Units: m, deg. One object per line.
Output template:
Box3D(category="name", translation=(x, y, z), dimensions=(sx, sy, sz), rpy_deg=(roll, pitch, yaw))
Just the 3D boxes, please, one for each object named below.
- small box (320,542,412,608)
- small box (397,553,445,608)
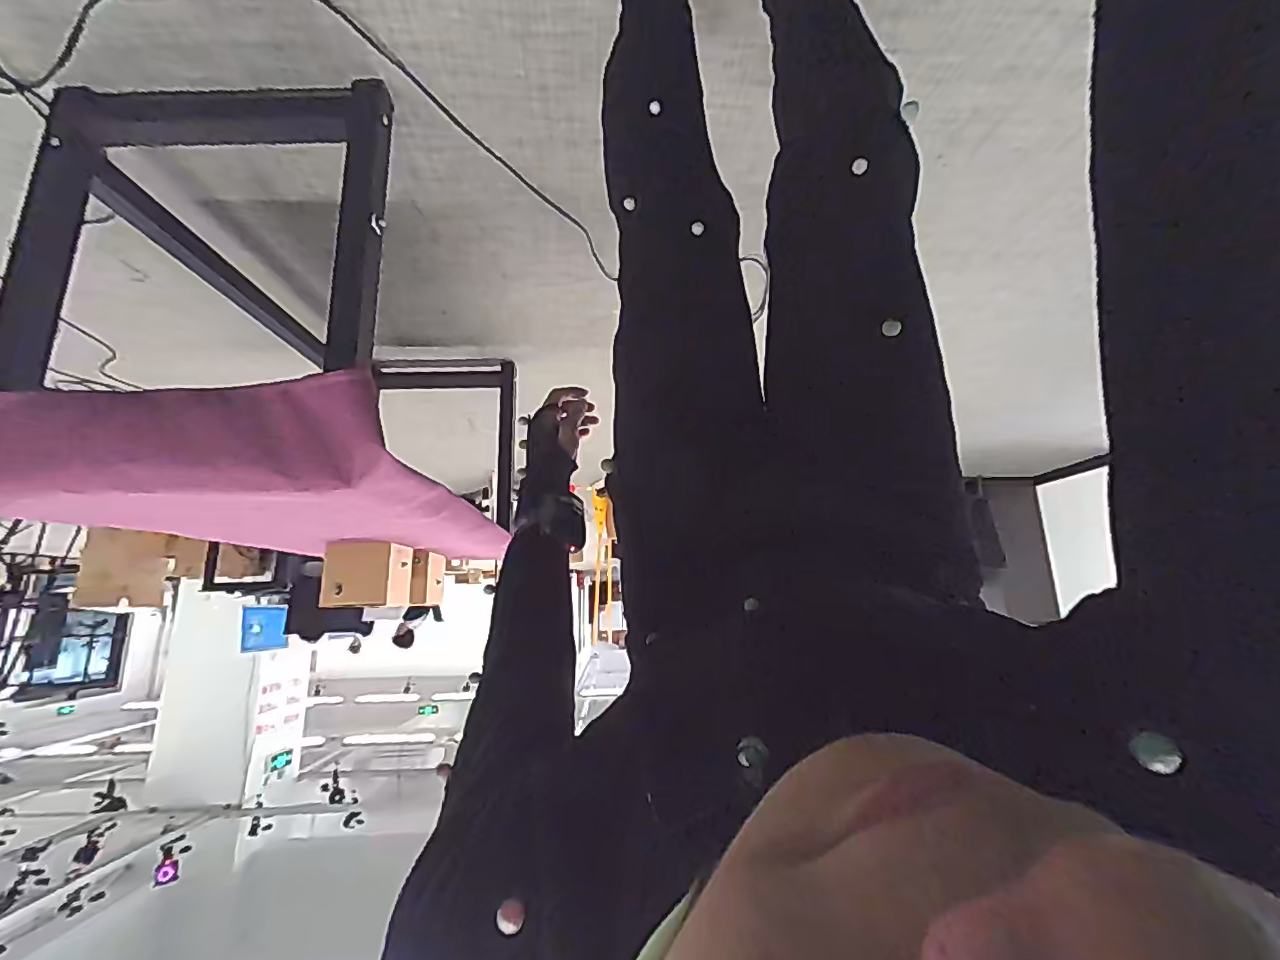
Box3D(category="small box", translation=(-0.749, 0.266, 1.496), dimensions=(0.179, 0.176, 0.168), rpy_deg=(-1, 167, -4))
Box3D(category="small box", translation=(-0.738, 0.323, 1.745), dimensions=(0.168, 0.176, 0.179), rpy_deg=(-1, 168, -3))
